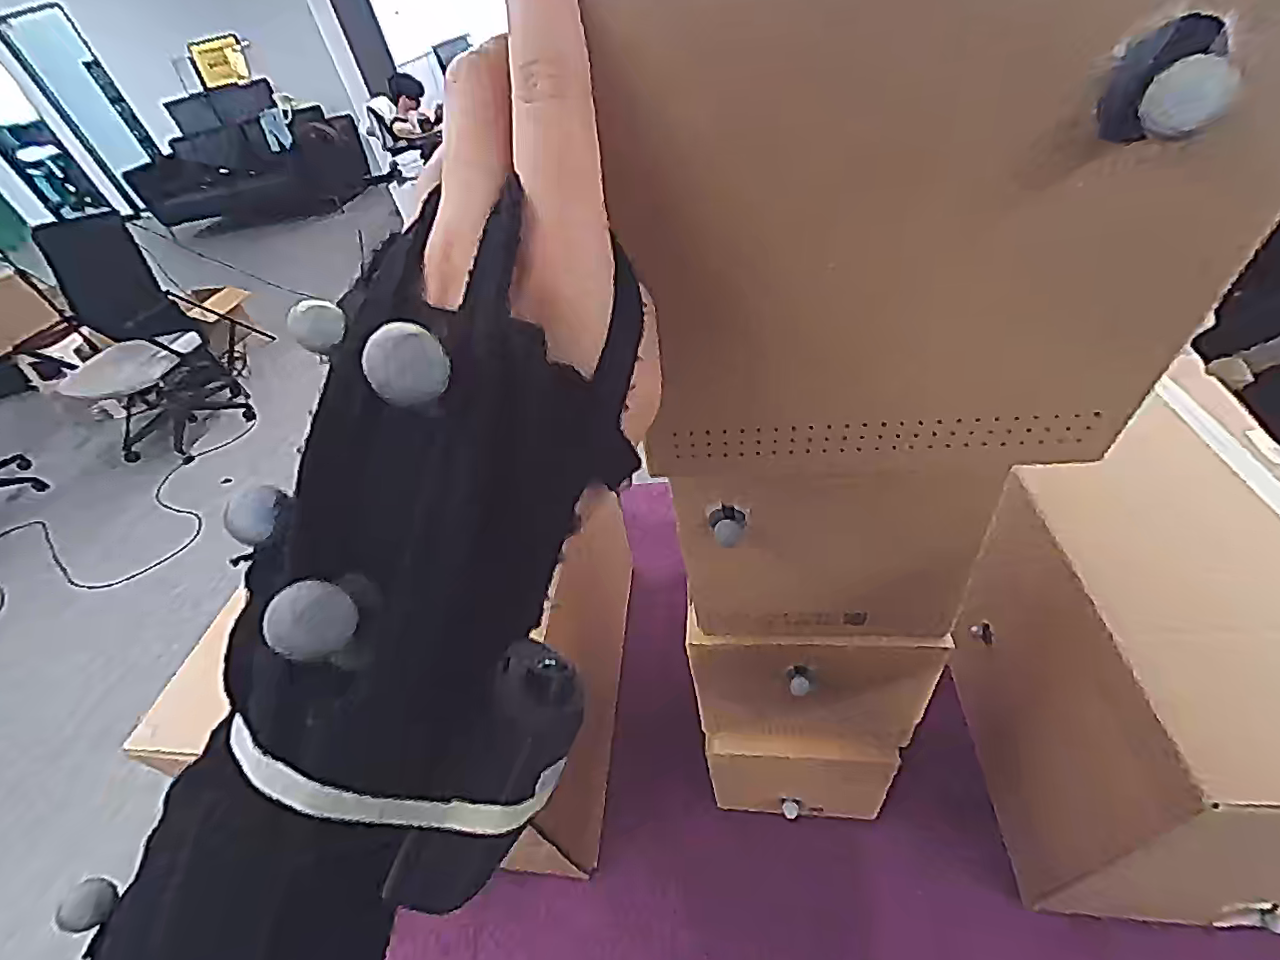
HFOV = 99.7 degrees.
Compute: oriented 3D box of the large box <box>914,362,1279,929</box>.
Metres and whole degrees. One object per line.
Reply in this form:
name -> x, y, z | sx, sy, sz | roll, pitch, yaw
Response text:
large box -> 0.491, 0.141, 0.503 | 0.320, 0.320, 0.408 | -3, 43, 10
